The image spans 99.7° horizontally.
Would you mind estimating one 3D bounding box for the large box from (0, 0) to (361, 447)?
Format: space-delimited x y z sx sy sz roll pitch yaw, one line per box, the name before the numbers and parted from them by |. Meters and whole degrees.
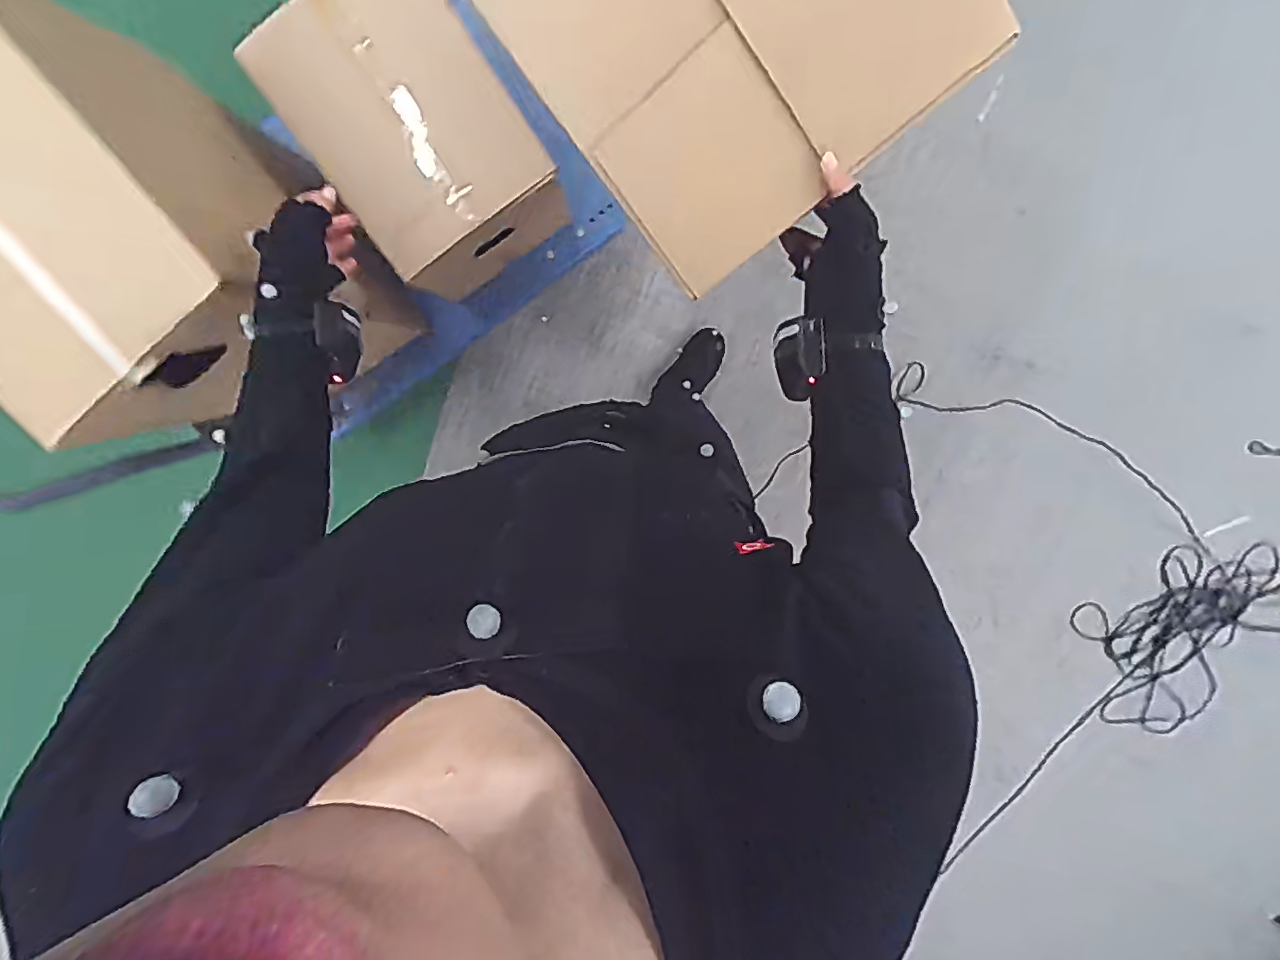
large box | -0.681 -0.312 0.712 0.320 0.320 0.408 -36 101 10
